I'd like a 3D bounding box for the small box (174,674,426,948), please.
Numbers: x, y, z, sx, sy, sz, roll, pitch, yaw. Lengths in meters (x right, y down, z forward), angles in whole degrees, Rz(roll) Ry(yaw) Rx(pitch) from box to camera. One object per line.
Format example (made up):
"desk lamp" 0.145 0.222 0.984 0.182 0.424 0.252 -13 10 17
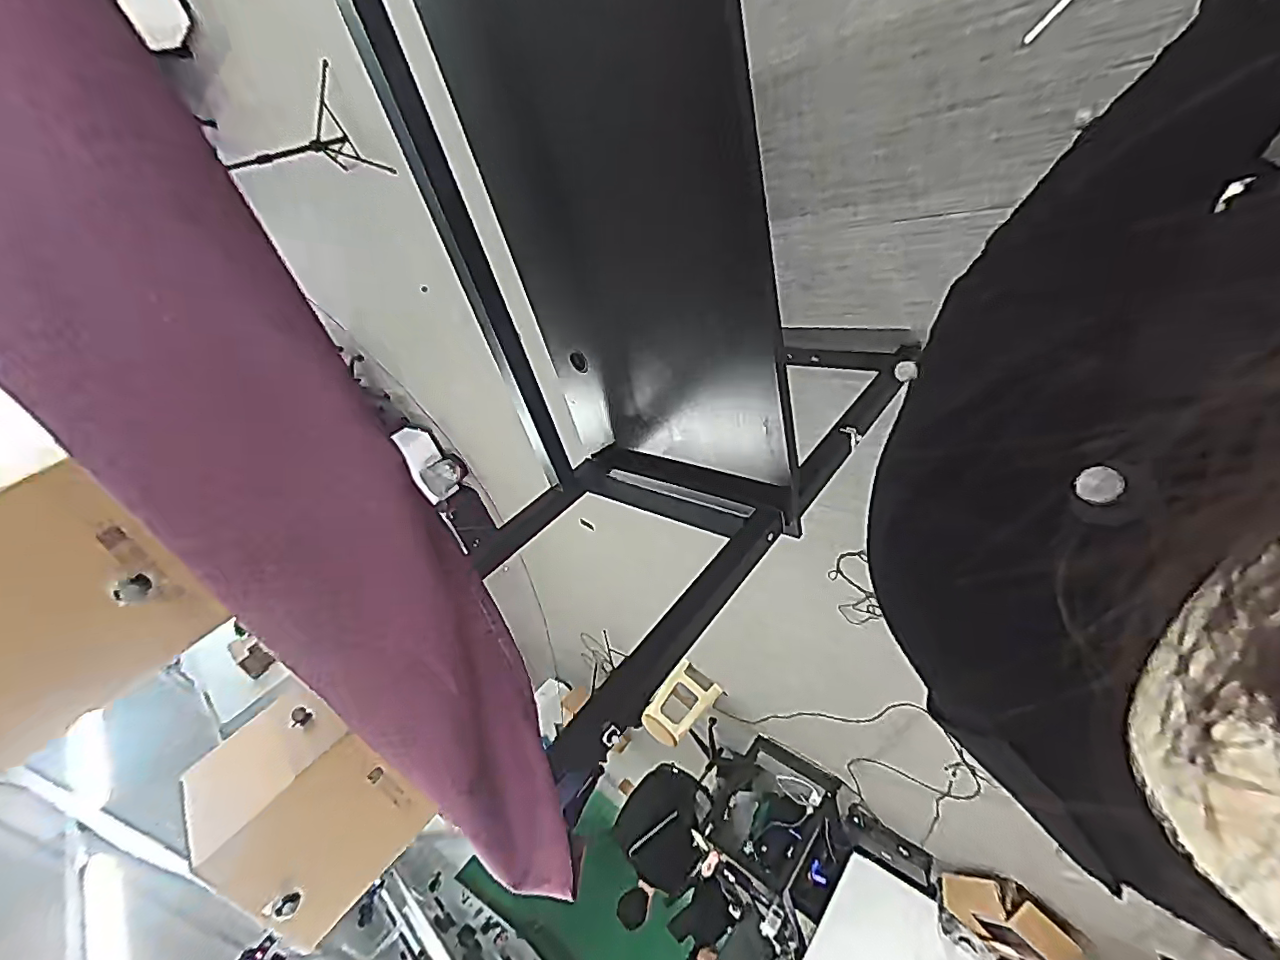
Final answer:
"small box" -0.375 0.352 0.611 0.179 0.176 0.168 9 132 47
